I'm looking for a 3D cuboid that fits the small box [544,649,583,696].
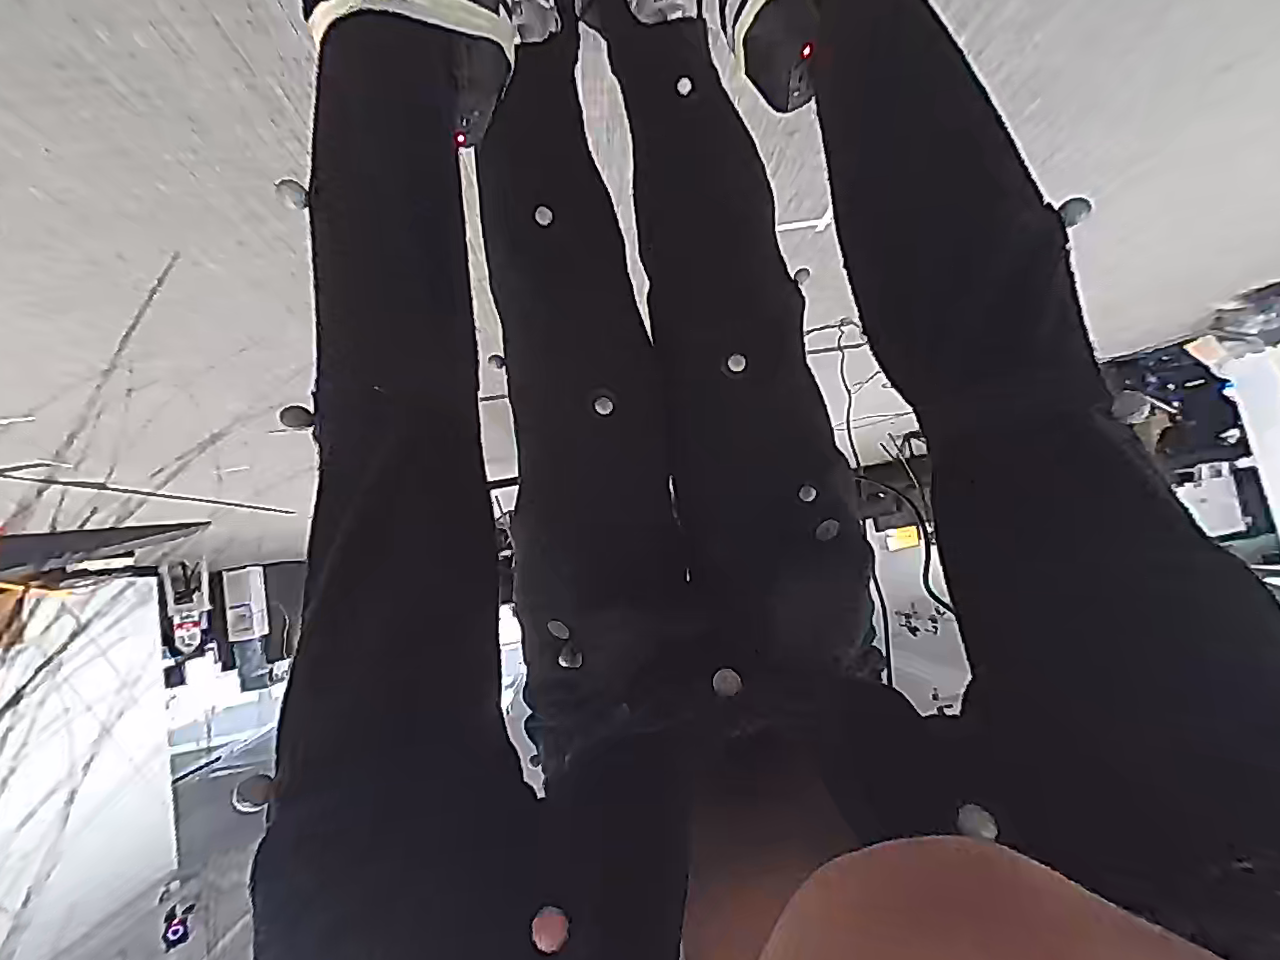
[{"bbox_3d":[-0.371,0.937,2.646,0.168,0.176,0.179,-10,174,-5],"label":"small box"}]
